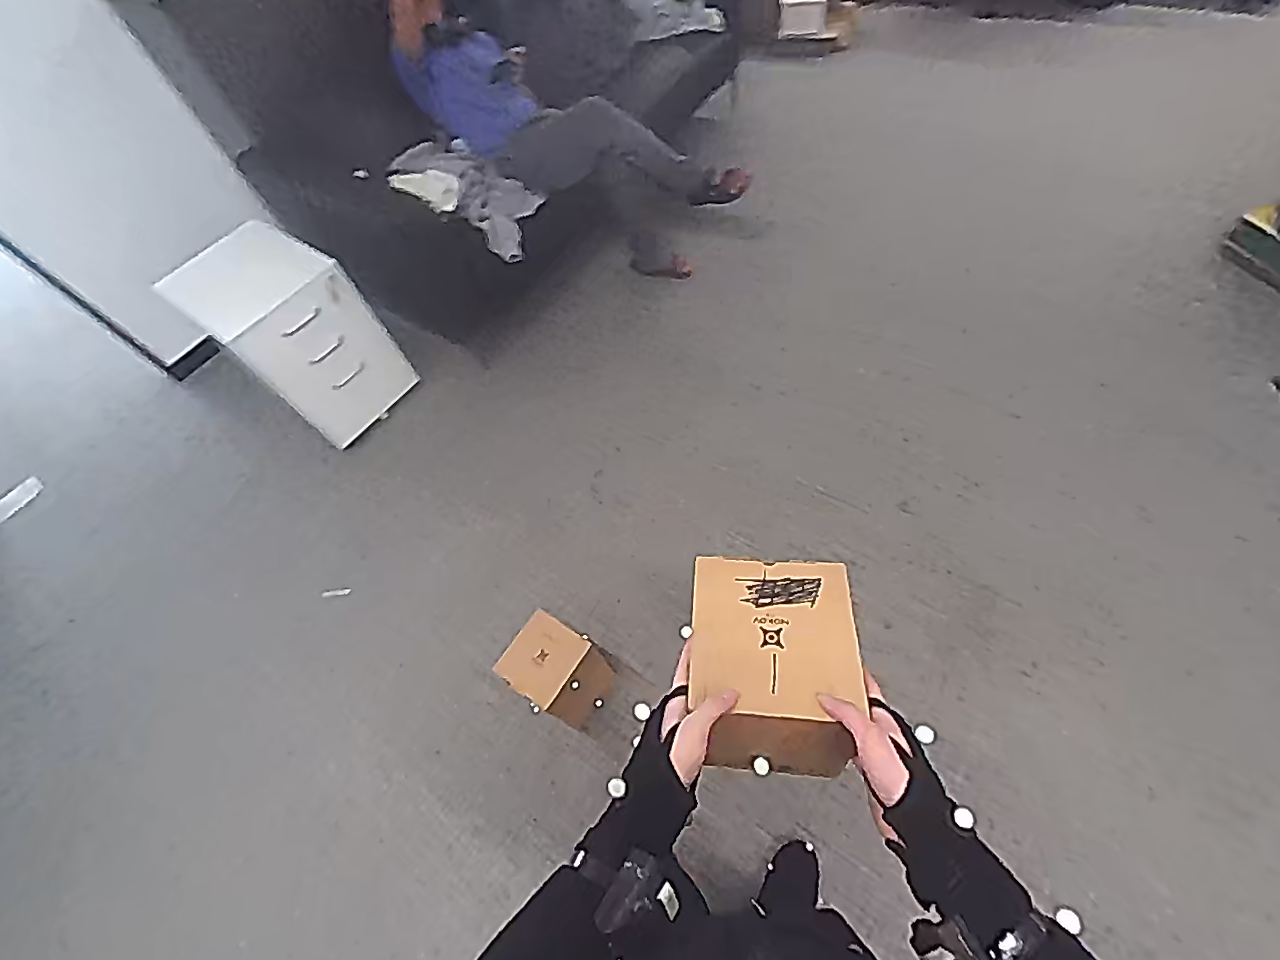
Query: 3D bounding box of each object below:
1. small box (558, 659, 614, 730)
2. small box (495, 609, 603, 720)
[{"bbox_3d":[-0.183,0.533,1.434,0.168,0.176,0.179,29,67,25],"label":"small box"},{"bbox_3d":[-0.207,0.447,1.298,0.168,0.176,0.179,27,65,23],"label":"small box"}]
